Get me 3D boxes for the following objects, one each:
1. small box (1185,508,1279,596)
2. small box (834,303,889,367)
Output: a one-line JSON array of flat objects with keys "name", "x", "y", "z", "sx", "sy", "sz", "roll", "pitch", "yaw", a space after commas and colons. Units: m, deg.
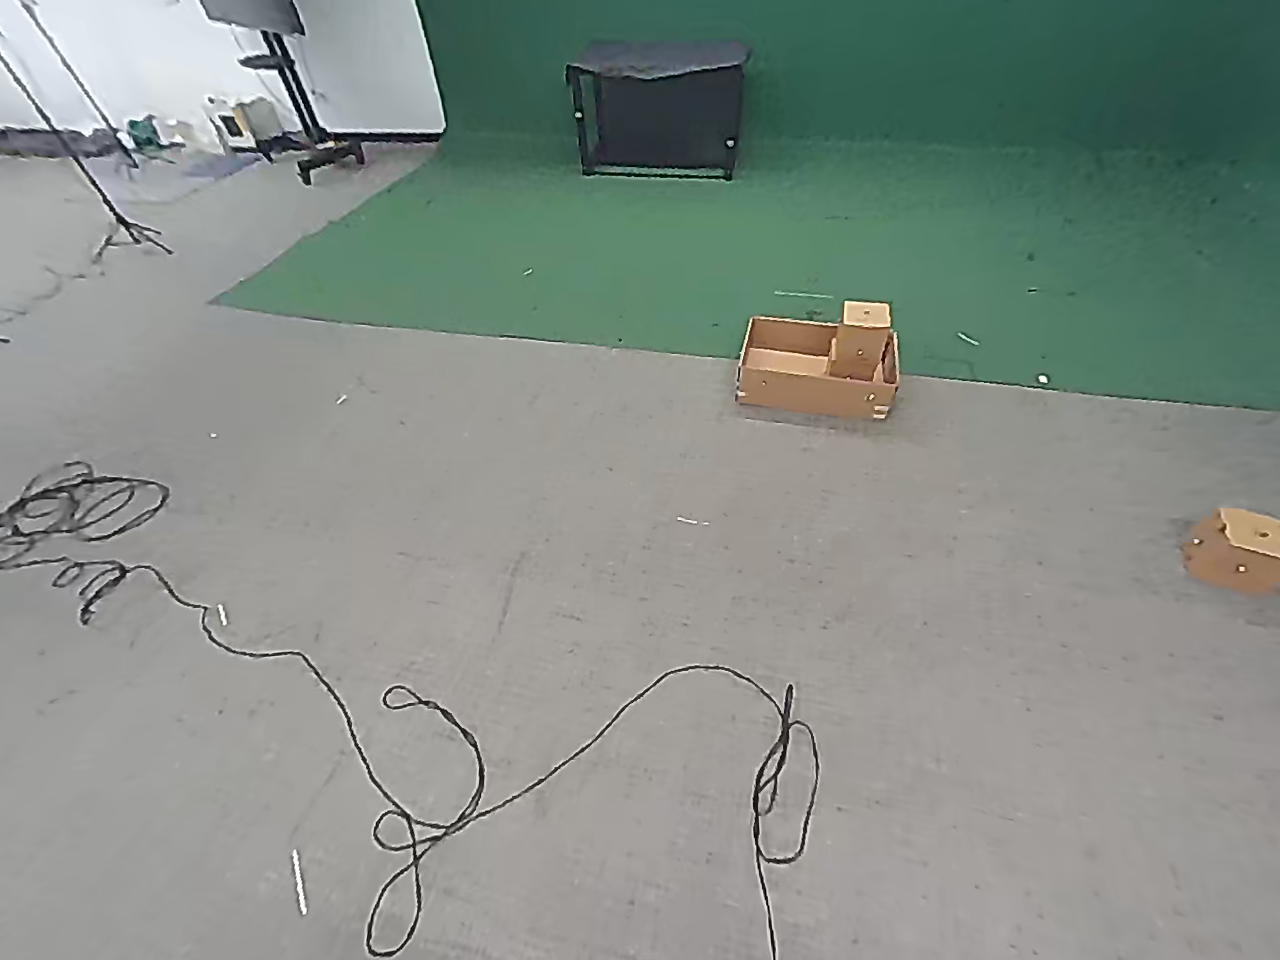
[{"name": "small box", "x": 1.773, "y": 0.216, "z": 1.602, "sx": 0.179, "sy": 0.176, "sz": 0.168, "roll": 17, "pitch": 50, "yaw": 20}, {"name": "small box", "x": 0.857, "y": -0.563, "z": 2.099, "sx": 0.168, "sy": 0.176, "sz": 0.179, "roll": 8, "pitch": 49, "yaw": 13}]
